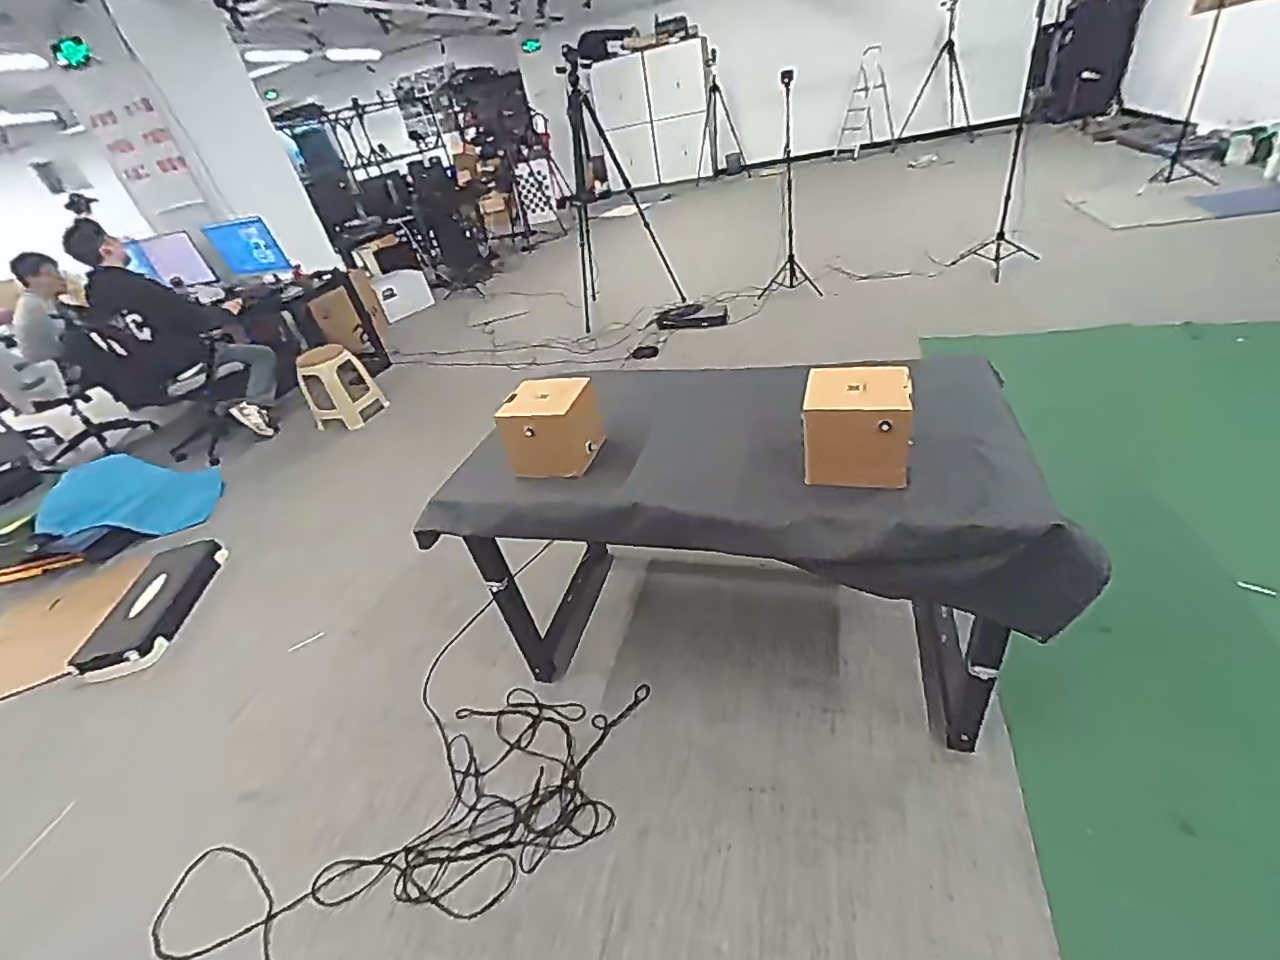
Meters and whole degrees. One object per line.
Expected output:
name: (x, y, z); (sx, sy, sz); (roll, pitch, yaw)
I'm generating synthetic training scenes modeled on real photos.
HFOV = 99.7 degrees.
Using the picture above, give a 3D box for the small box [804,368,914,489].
small box: (0.408, -0.097, 1.016); (0.179, 0.176, 0.168); (3, 37, 21)

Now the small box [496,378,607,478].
small box: (-0.194, -0.118, 1.238); (0.179, 0.176, 0.168); (2, 38, 18)
